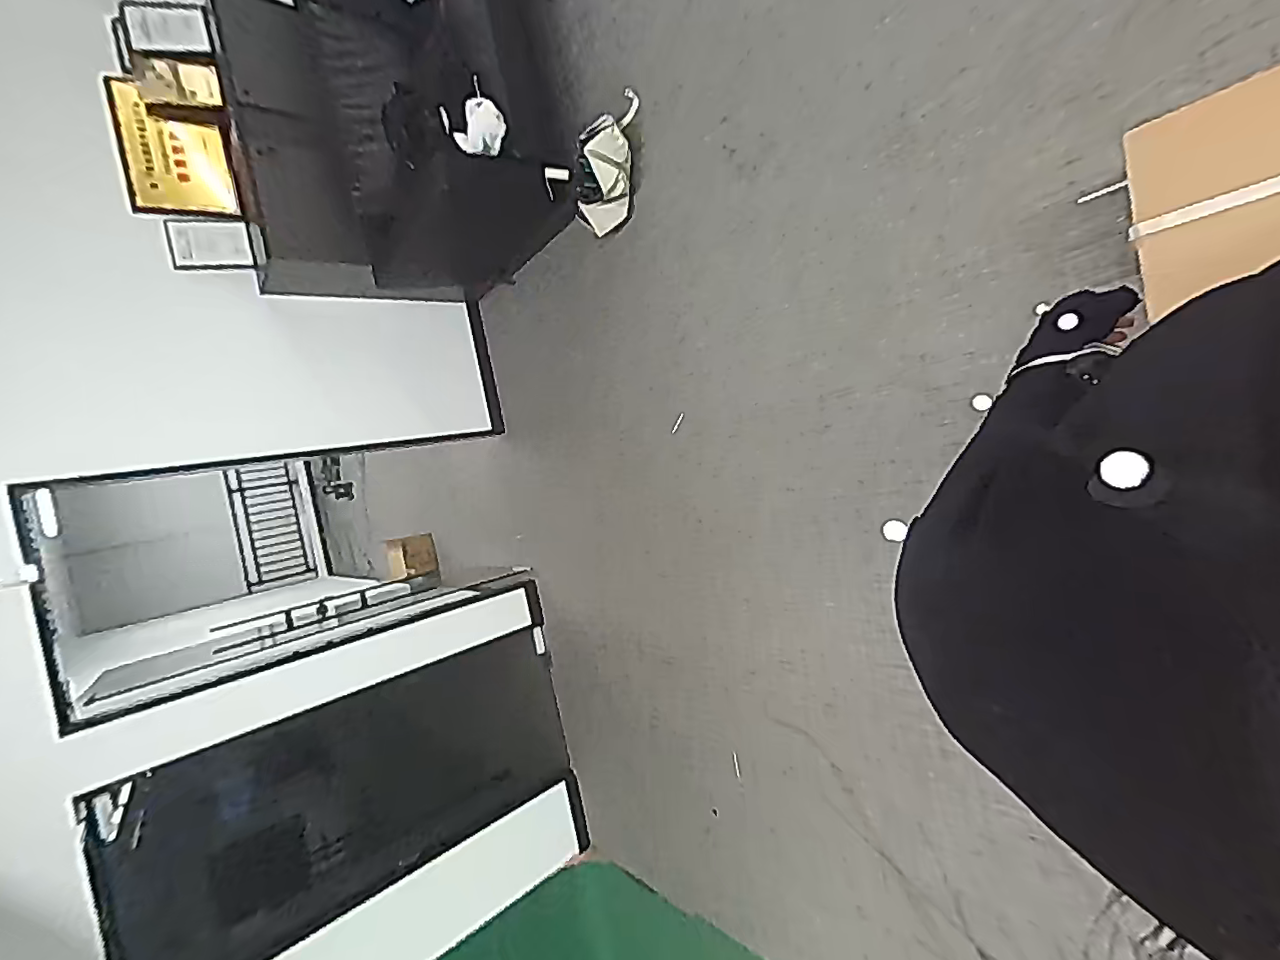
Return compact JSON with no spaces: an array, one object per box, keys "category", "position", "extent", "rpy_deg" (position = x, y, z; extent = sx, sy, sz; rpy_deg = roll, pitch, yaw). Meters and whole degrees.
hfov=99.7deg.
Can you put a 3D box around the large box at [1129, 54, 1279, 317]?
[{"category":"large box","position":[1.040,-0.459,0.804],"extent":[0.408,0.320,0.320],"rpy_deg":[-7,94,51]}]
